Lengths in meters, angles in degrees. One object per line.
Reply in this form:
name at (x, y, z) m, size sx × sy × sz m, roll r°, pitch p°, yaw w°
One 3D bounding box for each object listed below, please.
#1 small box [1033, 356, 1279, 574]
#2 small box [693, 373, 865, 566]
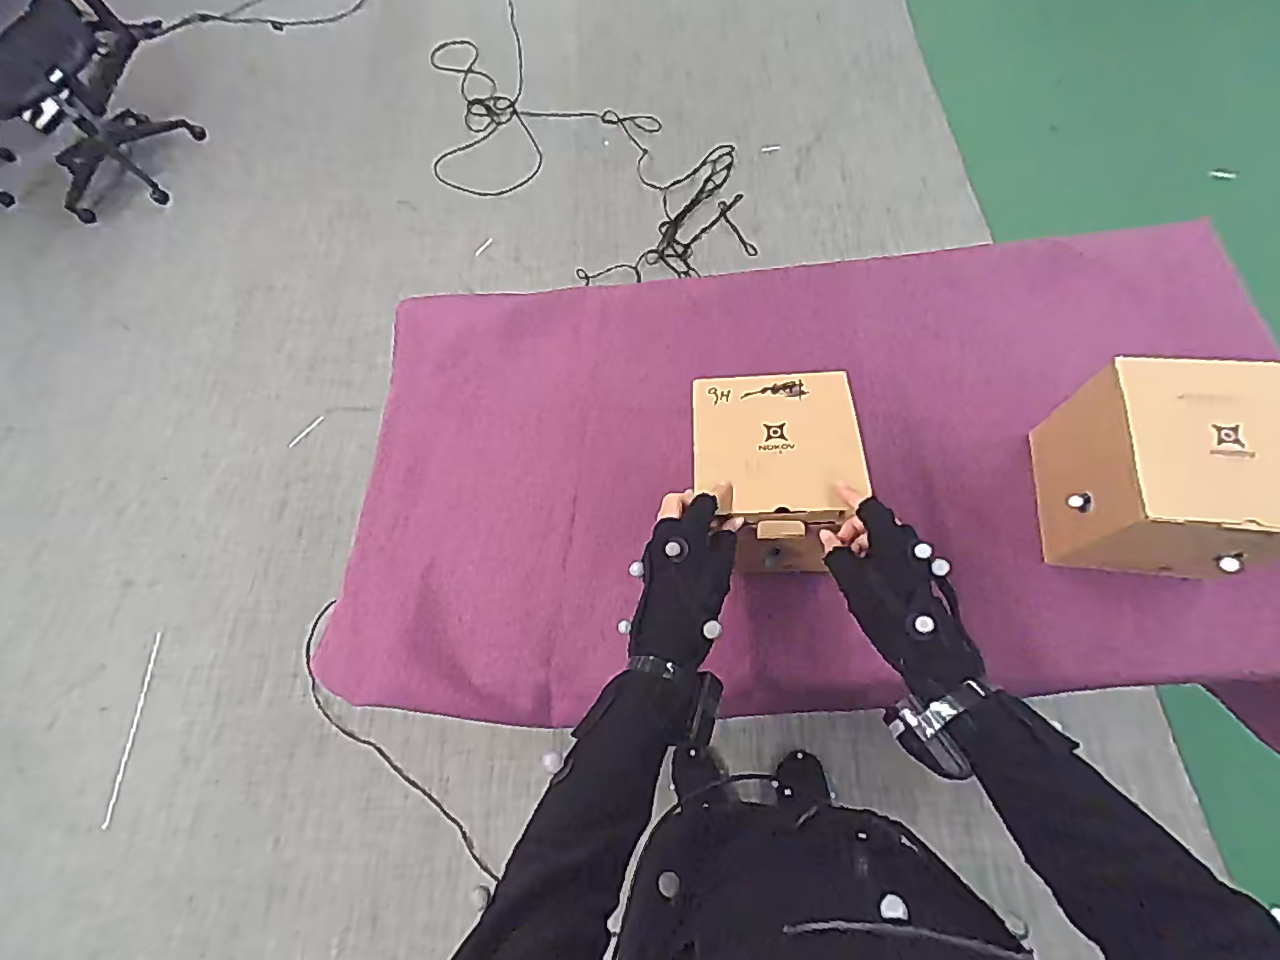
small box at (0.552, -0.008, 0.570) m, size 0.168 × 0.176 × 0.179 m, roll 5°, pitch 68°, yaw 11°
small box at (0.148, -0.001, 0.627) m, size 0.168 × 0.176 × 0.179 m, roll -2°, pitch 66°, yaw 8°
